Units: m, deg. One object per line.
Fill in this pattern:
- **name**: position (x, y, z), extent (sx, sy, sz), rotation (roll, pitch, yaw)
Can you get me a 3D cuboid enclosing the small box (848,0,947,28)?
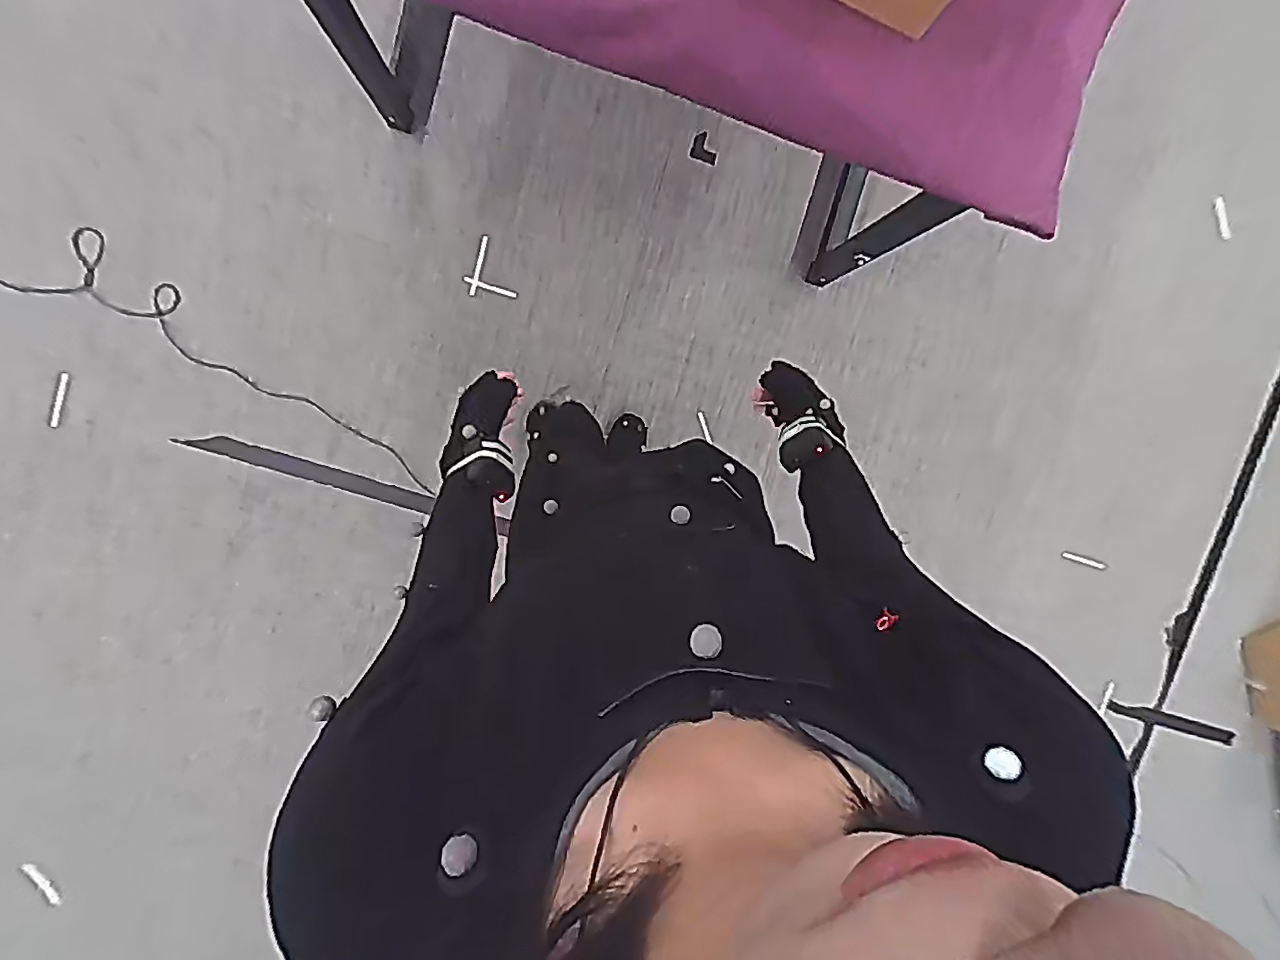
- **small box**: position (0.334, -0.693, 0.636), extent (0.179, 0.176, 0.168), rotation (20, 92, -6)
